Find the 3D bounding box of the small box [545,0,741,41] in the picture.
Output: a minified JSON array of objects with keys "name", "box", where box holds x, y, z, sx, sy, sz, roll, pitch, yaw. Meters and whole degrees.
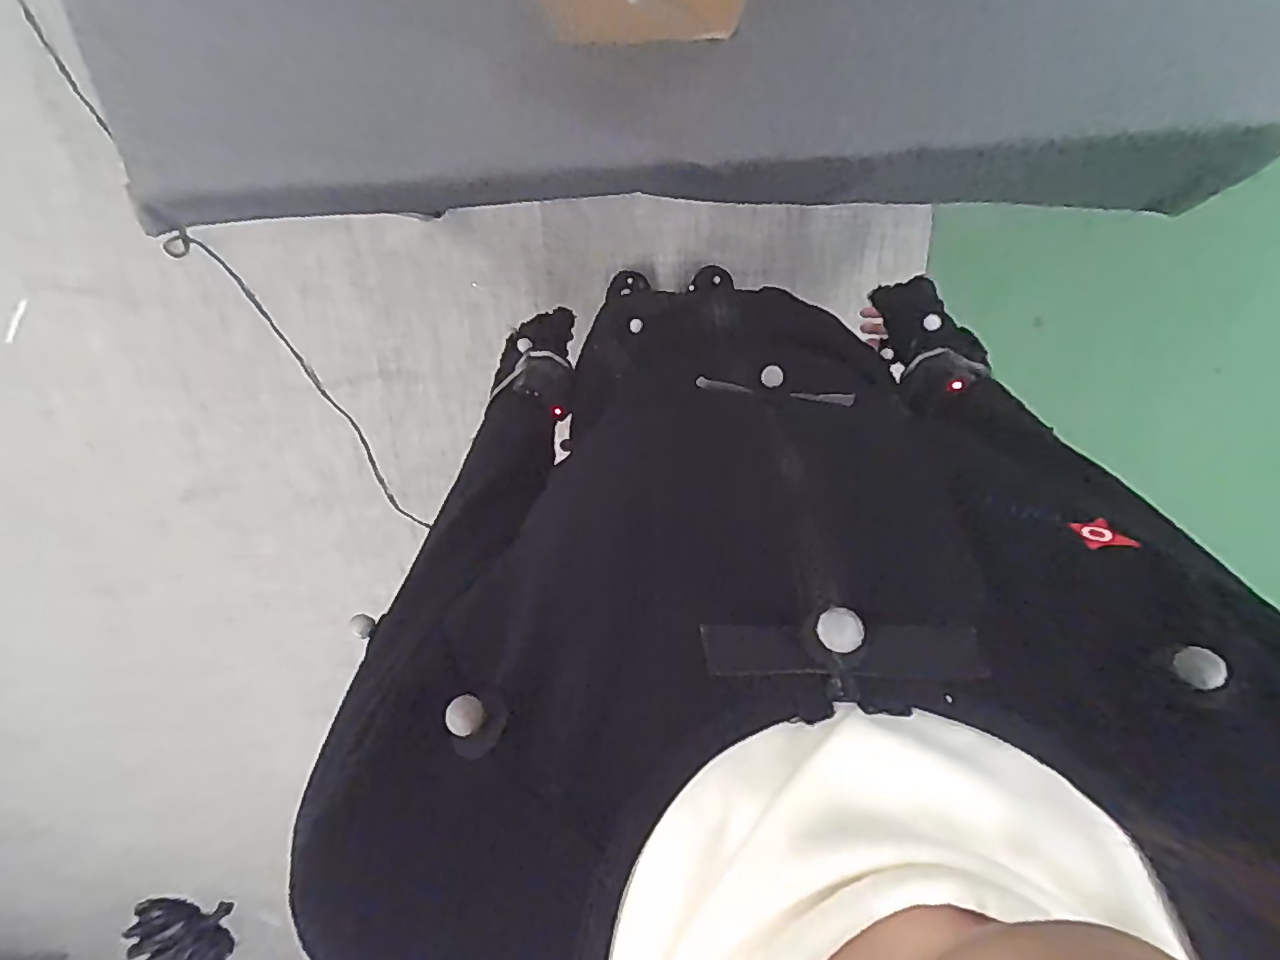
[{"name":"small box","box":[0.001,-0.469,0.419,0.179,0.176,0.168,-1,113,2]}]
